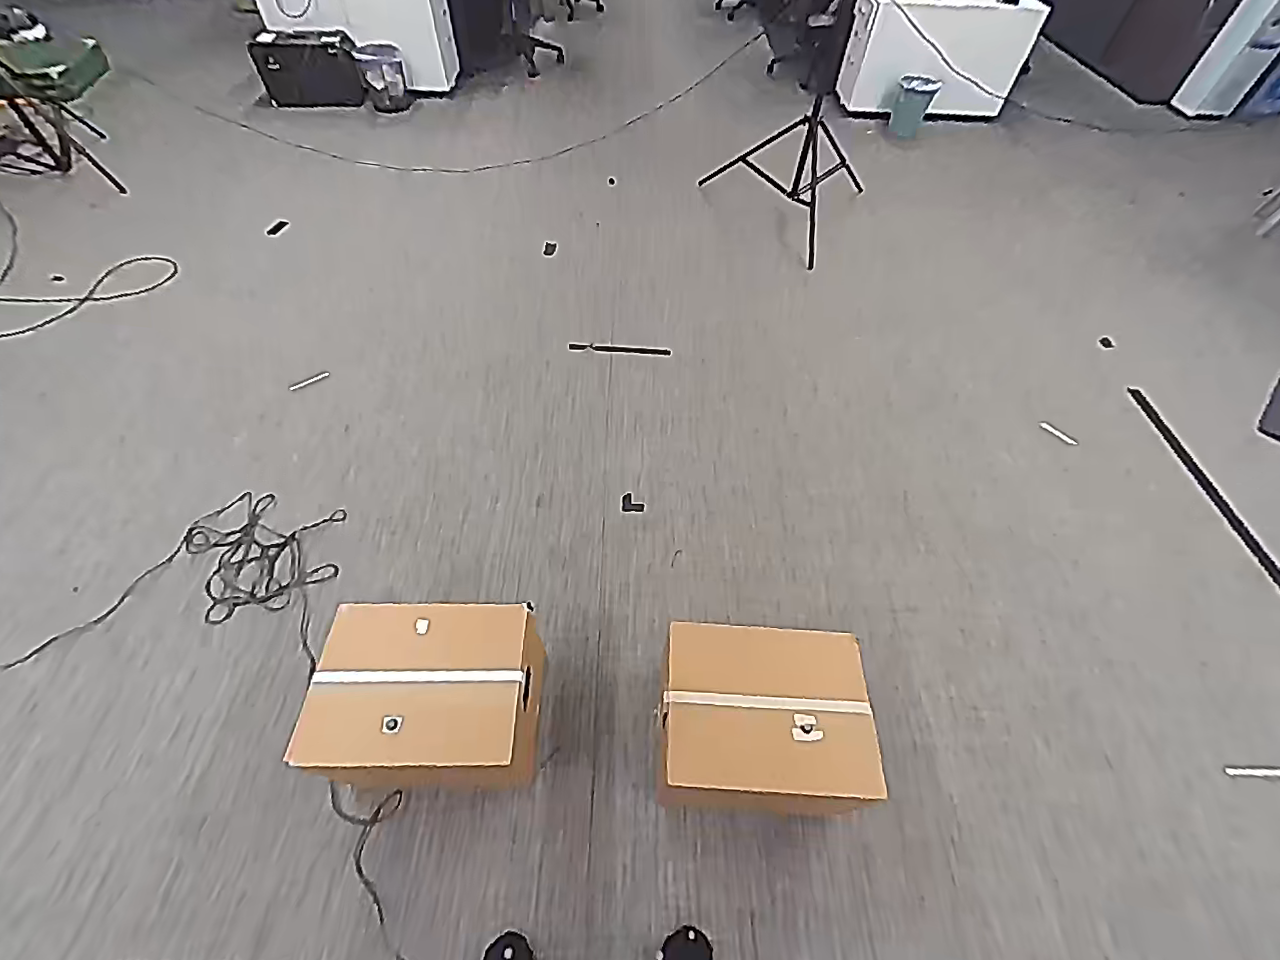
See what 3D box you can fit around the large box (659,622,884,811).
[{"bbox_3d":[0.252,0.530,1.198,0.408,0.320,0.320,4,54,-1],"label":"large box"}]
